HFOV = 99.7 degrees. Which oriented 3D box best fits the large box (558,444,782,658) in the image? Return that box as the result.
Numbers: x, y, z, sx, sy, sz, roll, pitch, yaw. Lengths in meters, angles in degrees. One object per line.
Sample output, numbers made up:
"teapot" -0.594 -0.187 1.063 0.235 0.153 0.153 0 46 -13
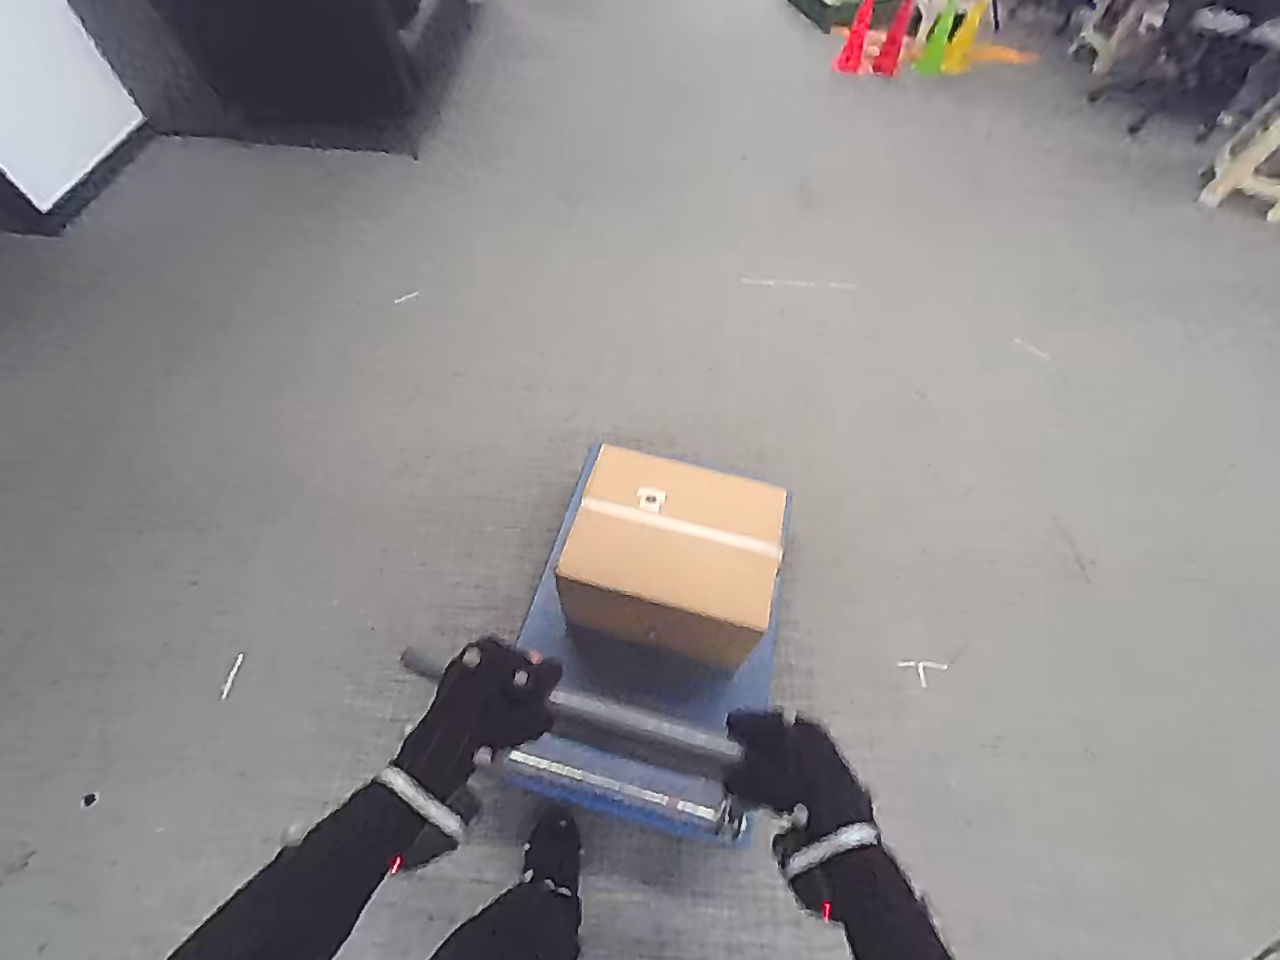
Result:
"large box" 0.071 0.166 1.206 0.408 0.320 0.320 13 57 7
